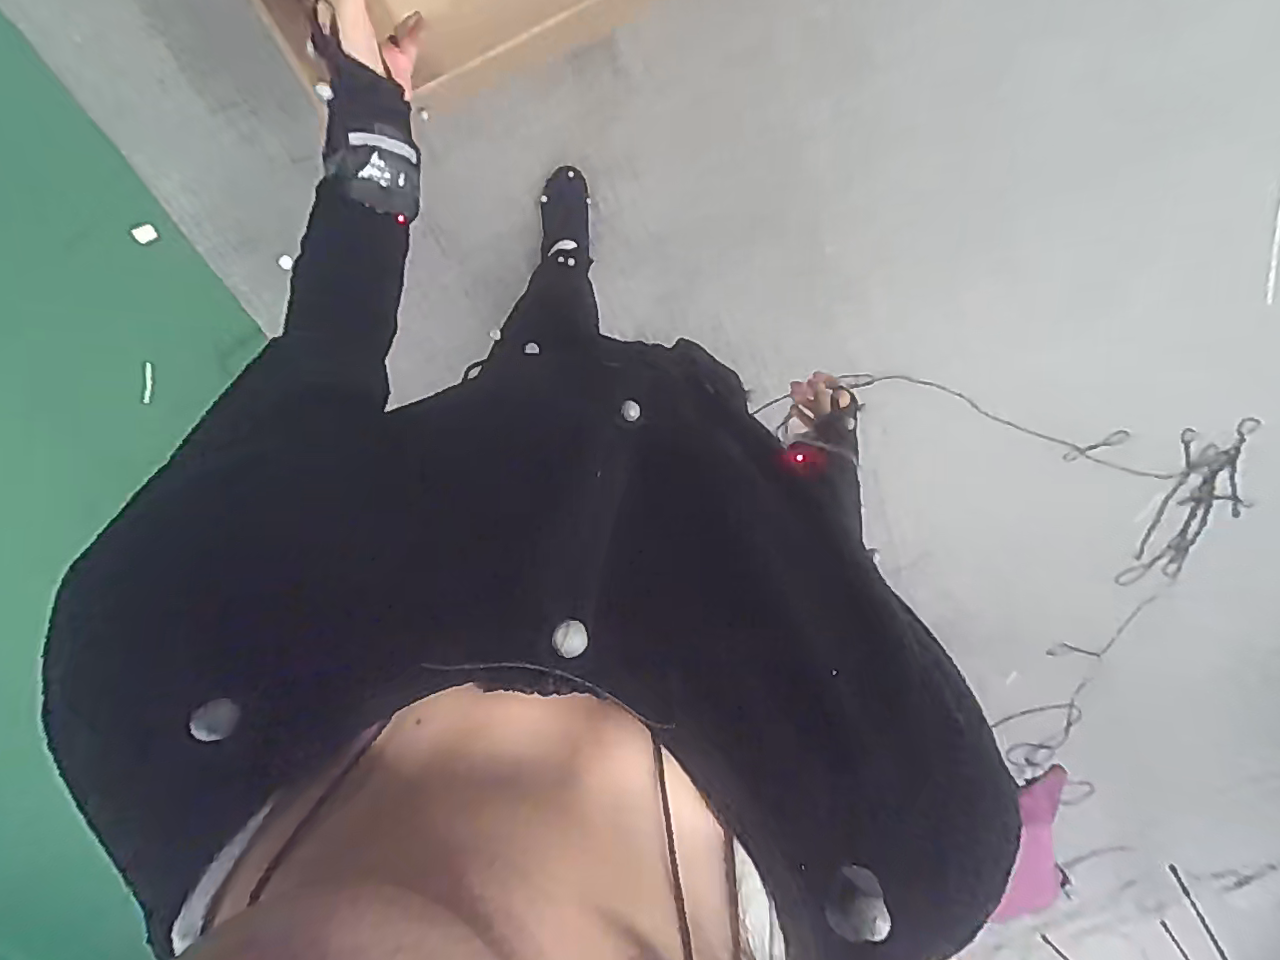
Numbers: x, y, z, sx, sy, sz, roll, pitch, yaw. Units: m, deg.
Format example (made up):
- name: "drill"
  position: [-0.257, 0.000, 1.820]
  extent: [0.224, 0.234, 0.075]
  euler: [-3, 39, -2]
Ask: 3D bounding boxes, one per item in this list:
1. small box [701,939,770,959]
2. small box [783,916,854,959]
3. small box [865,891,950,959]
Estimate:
- name: "small box"
  position: [0.303, 1.522, 1.623]
  extent: [0.179, 0.176, 0.168]
  euler: [-41, 117, 15]
- name: "small box"
  position: [0.545, 1.434, 1.602]
  extent: [0.179, 0.176, 0.168]
  euler: [-19, 119, 4]
- name: "small box"
  position: [0.788, 1.345, 1.580]
  extent: [0.168, 0.176, 0.179]
  euler: [-26, 119, 8]
